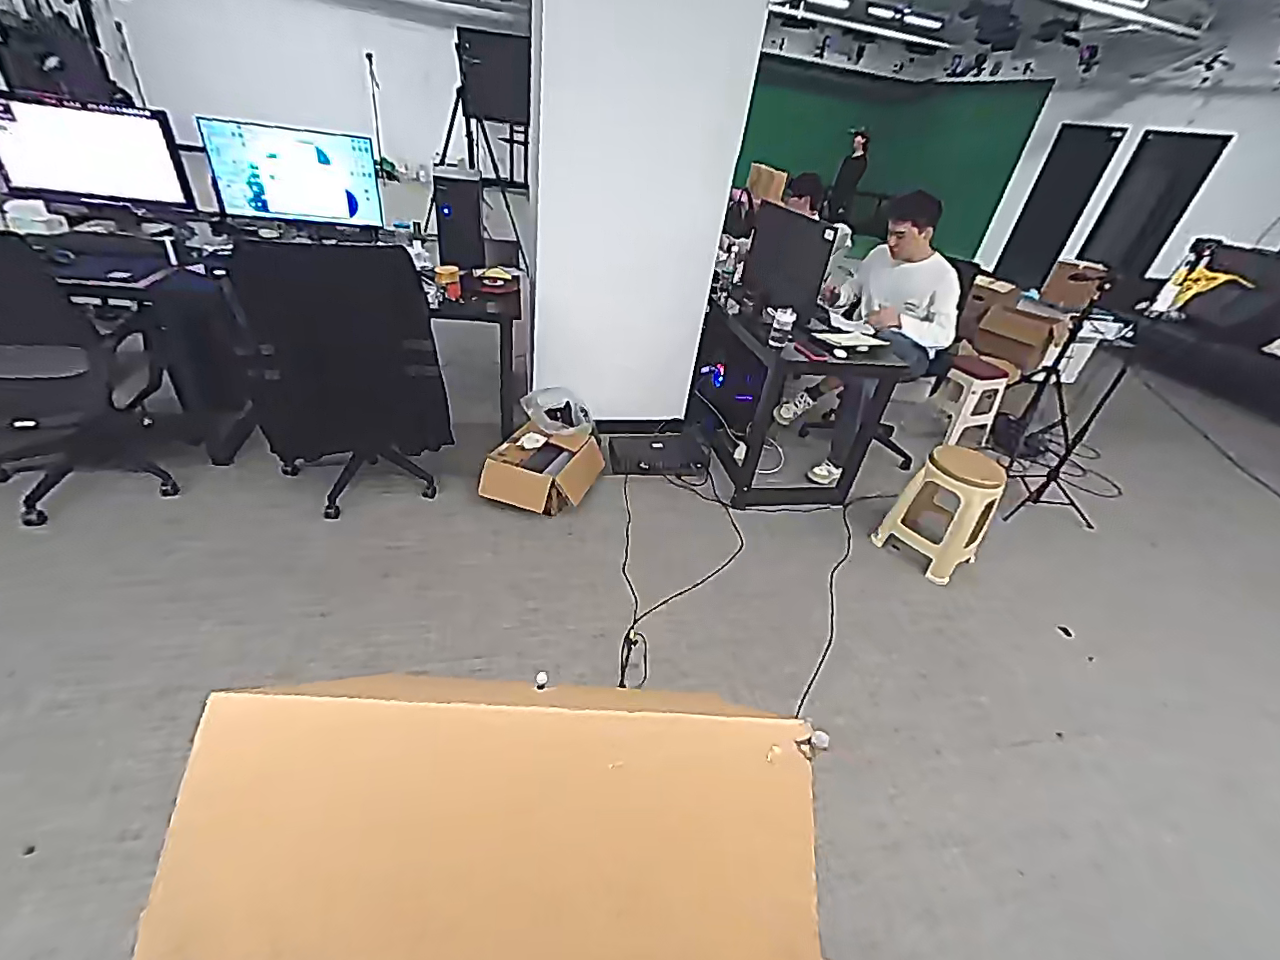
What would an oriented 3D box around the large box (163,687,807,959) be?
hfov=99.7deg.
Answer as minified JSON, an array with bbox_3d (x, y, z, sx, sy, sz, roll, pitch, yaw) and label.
[{"bbox_3d":[-0.105,0.355,0.474,0.408,0.320,0.320,4,73,-5],"label":"large box"}]
